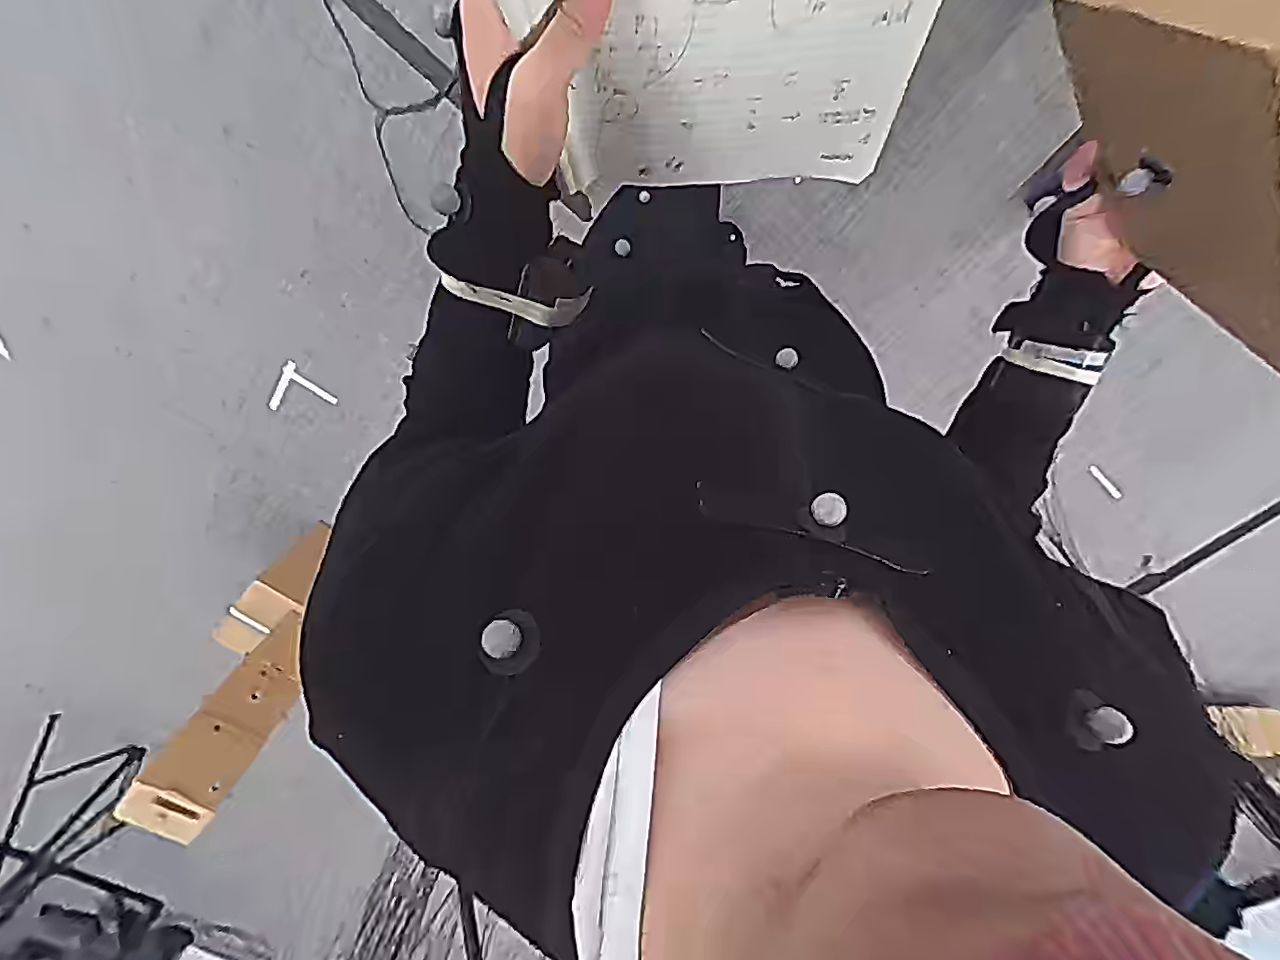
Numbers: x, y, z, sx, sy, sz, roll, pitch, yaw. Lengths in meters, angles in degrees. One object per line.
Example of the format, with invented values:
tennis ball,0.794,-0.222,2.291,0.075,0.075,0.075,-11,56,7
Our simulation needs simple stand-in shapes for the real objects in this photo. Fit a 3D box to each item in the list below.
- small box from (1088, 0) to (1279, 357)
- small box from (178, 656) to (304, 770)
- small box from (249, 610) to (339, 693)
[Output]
small box,0.327,-0.183,0.221,0.179,0.176,0.168,-29,128,31
small box,-0.990,0.579,1.360,0.168,0.176,0.179,40,112,-16
small box,-0.975,0.496,1.501,0.179,0.176,0.168,-40,109,22
